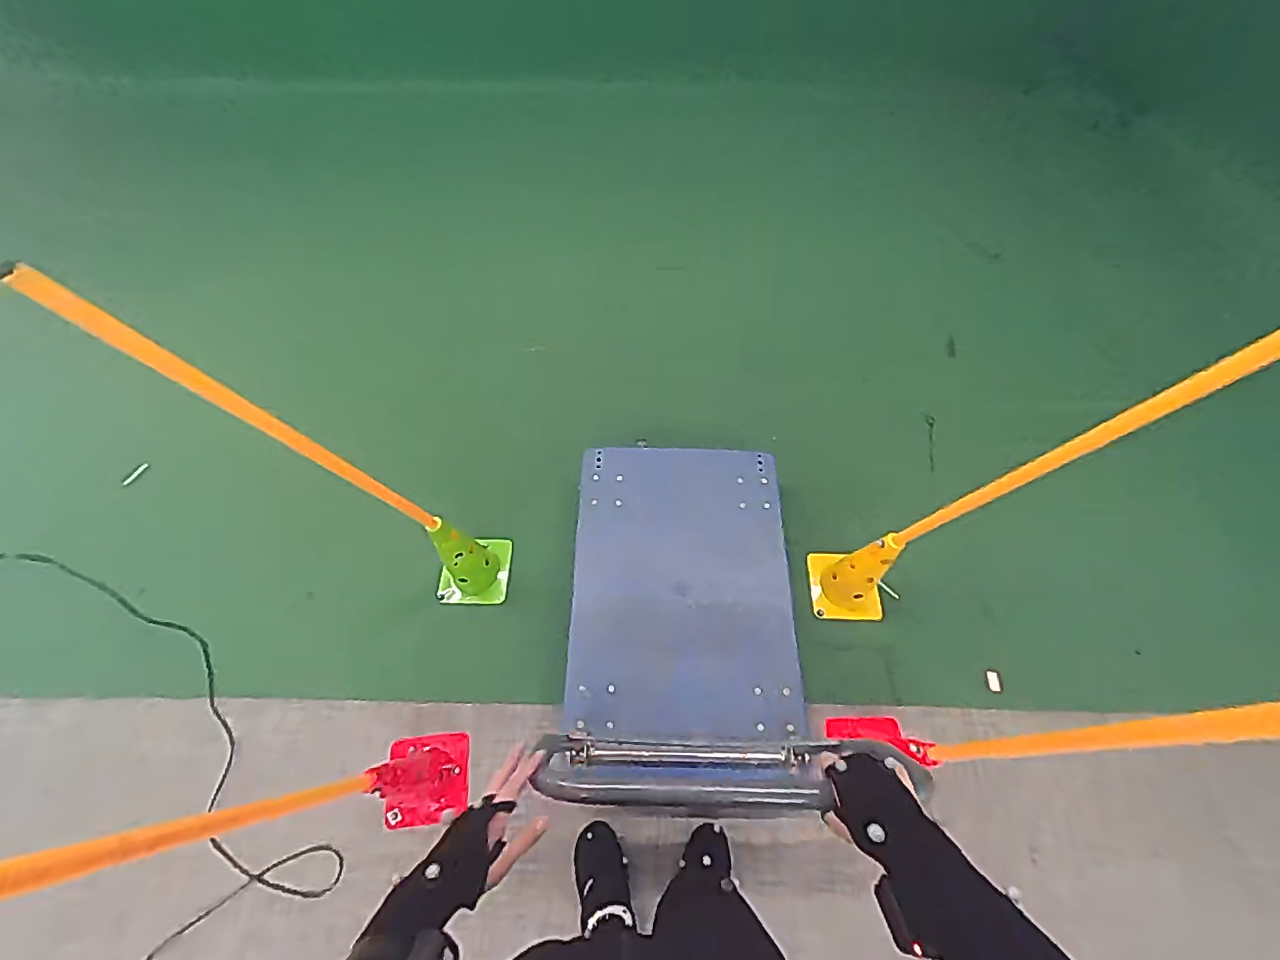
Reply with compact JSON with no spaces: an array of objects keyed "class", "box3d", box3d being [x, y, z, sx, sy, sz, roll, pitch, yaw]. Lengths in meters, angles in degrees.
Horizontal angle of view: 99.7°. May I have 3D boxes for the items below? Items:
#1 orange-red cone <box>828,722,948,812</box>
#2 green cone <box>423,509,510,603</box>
[{"class":"orange-red cone","box3d":[0.582,0.631,1.212,0.198,0.360,0.199,2,59,0]},{"class":"green cone","box3d":[-0.495,0.181,1.446,0.200,0.368,0.202,1,60,1]}]
